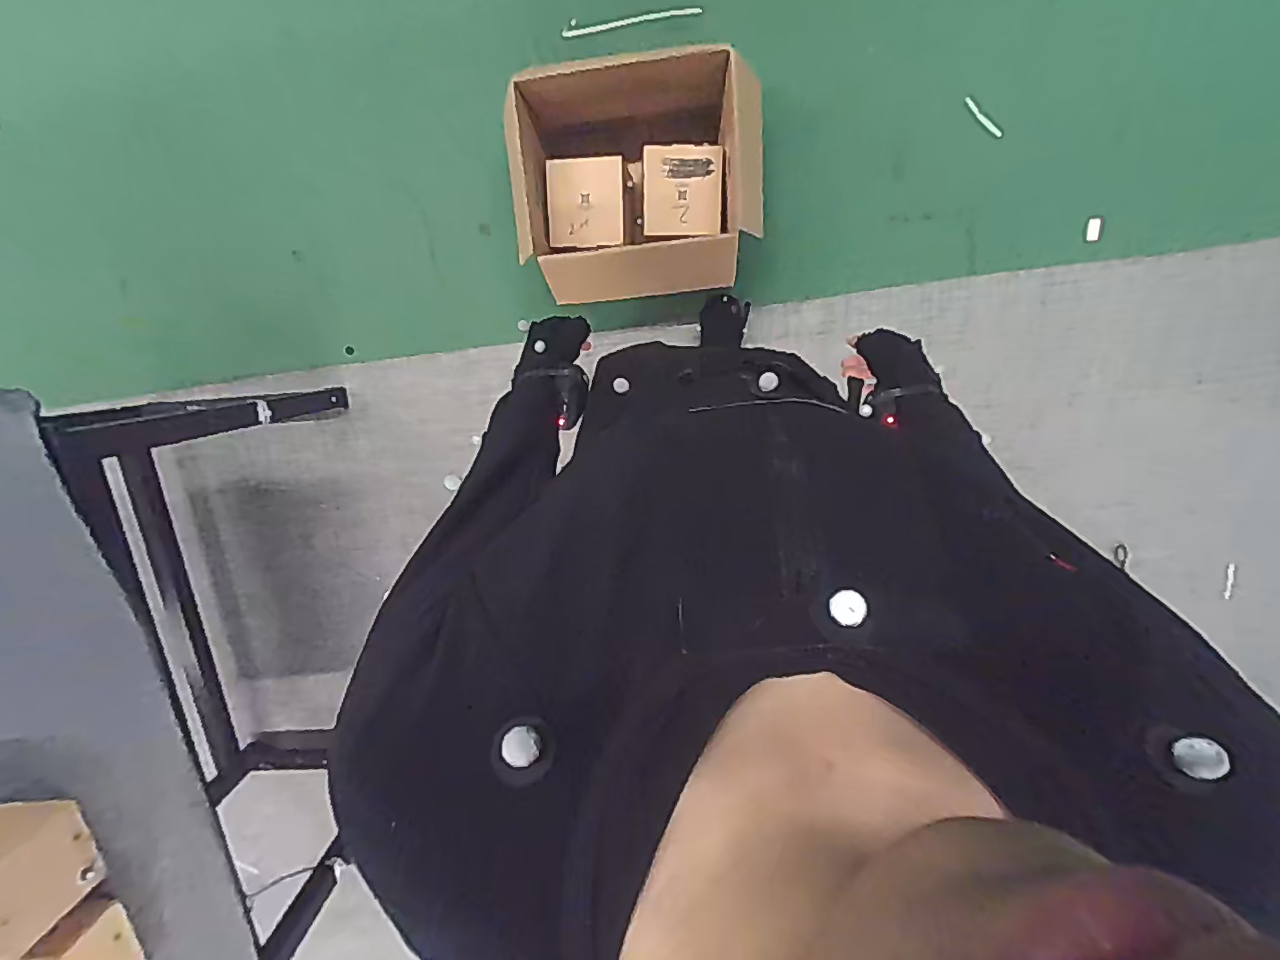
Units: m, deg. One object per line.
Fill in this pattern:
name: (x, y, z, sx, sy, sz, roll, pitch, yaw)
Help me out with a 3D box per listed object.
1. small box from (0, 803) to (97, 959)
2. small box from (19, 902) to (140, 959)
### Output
small box: (-1.055, 0.659, 0.884, 0.179, 0.176, 0.168, -5, 104, 6)
small box: (-1.029, 0.874, 0.939, 0.179, 0.176, 0.168, -6, 104, 6)
